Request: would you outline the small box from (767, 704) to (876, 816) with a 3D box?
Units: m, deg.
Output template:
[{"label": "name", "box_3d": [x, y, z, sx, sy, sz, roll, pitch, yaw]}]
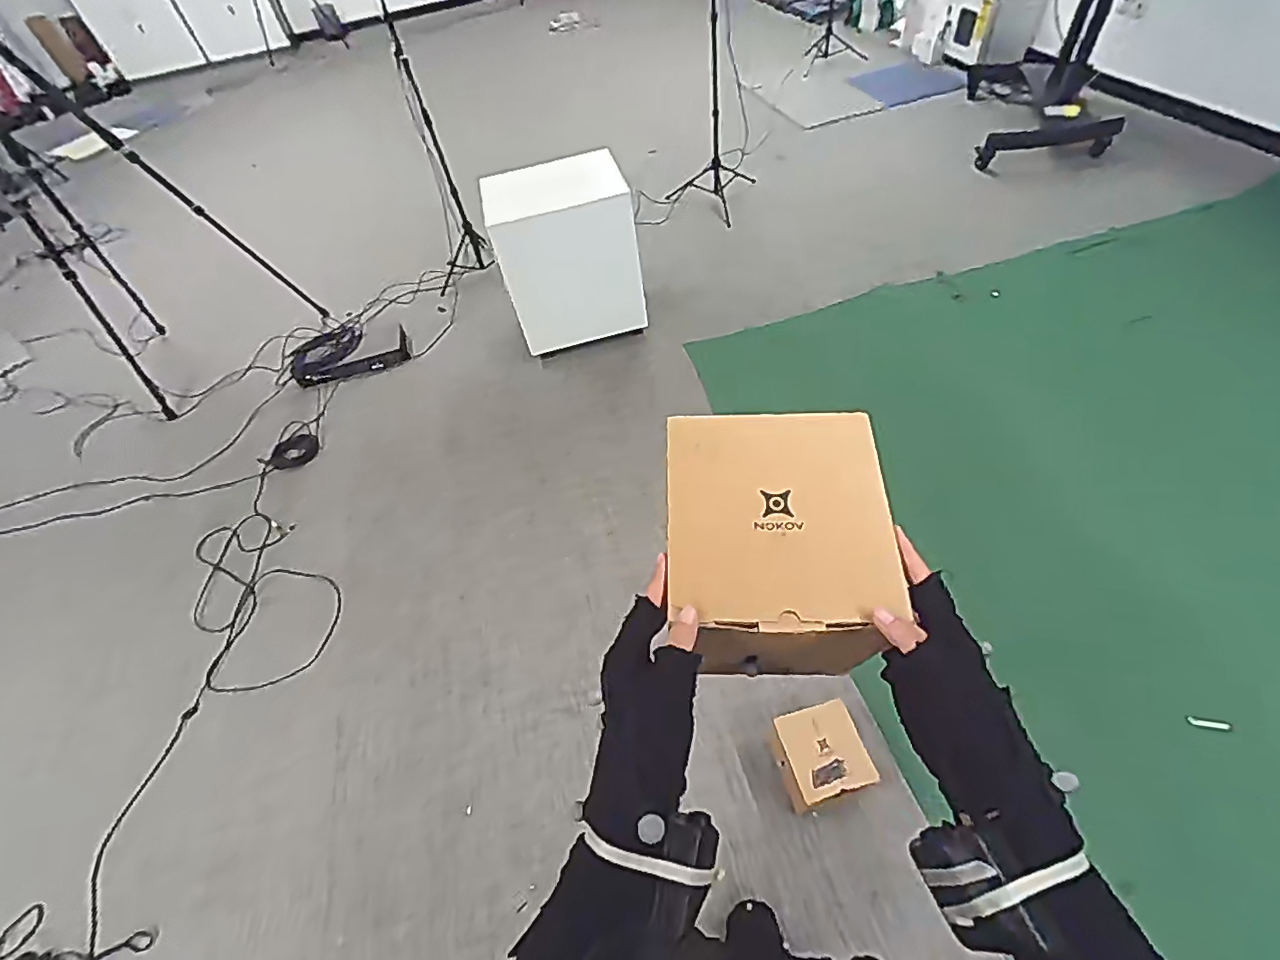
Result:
[{"label": "small box", "box_3d": [0.396, 0.634, 1.213, 0.168, 0.176, 0.179, -15, 51, -4]}]

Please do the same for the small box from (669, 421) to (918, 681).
[{"label": "small box", "box_3d": [0.109, 0.067, 0.472, 0.168, 0.176, 0.179, -1, 60, 3]}]
